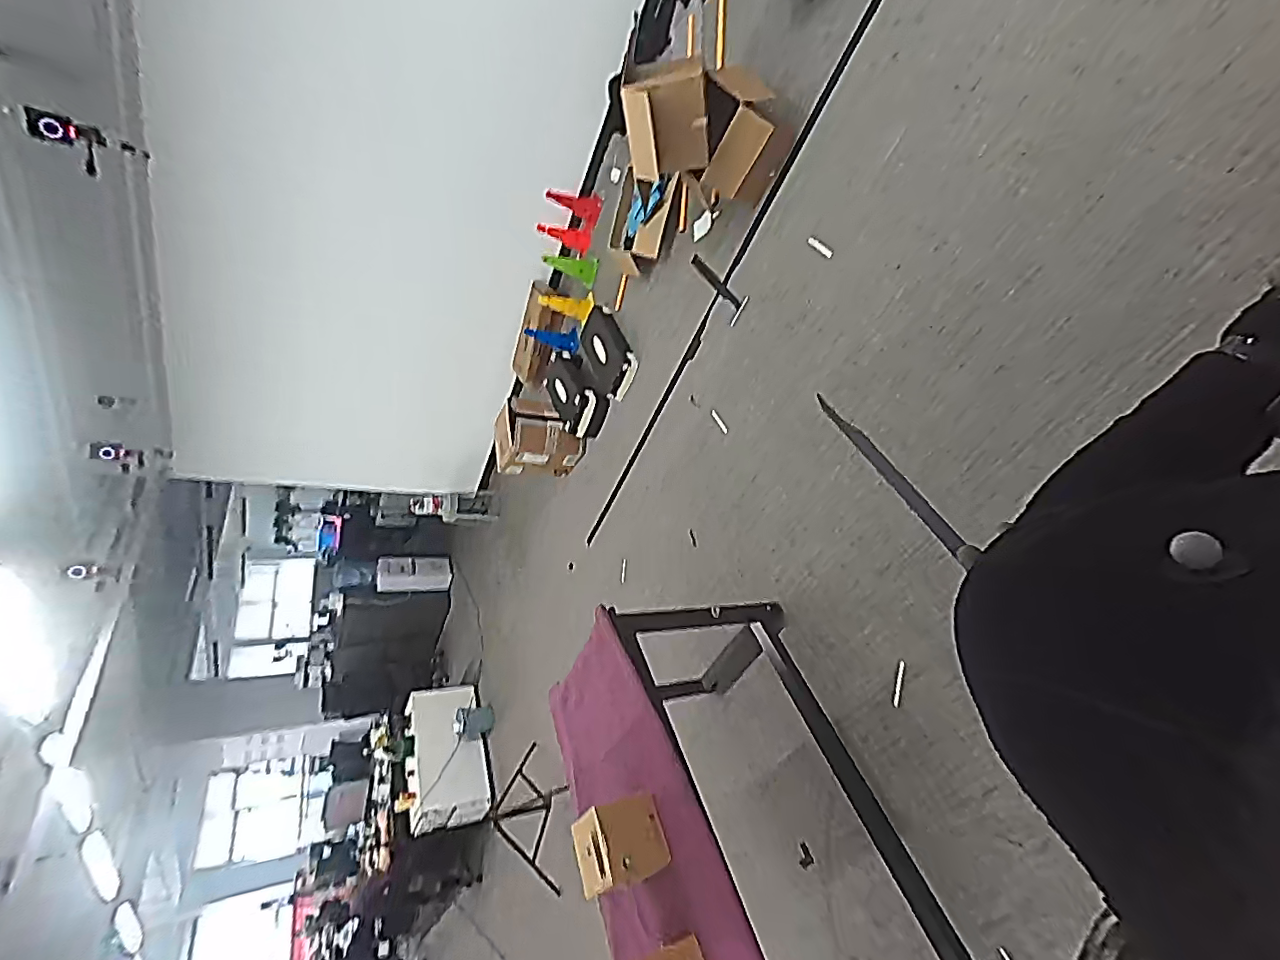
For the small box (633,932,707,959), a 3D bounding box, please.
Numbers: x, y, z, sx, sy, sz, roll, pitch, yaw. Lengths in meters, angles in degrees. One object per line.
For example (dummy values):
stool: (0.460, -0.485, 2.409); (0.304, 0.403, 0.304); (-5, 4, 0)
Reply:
small box: (0.061, 1.137, 1.175); (0.168, 0.176, 0.179); (-63, 37, 31)
